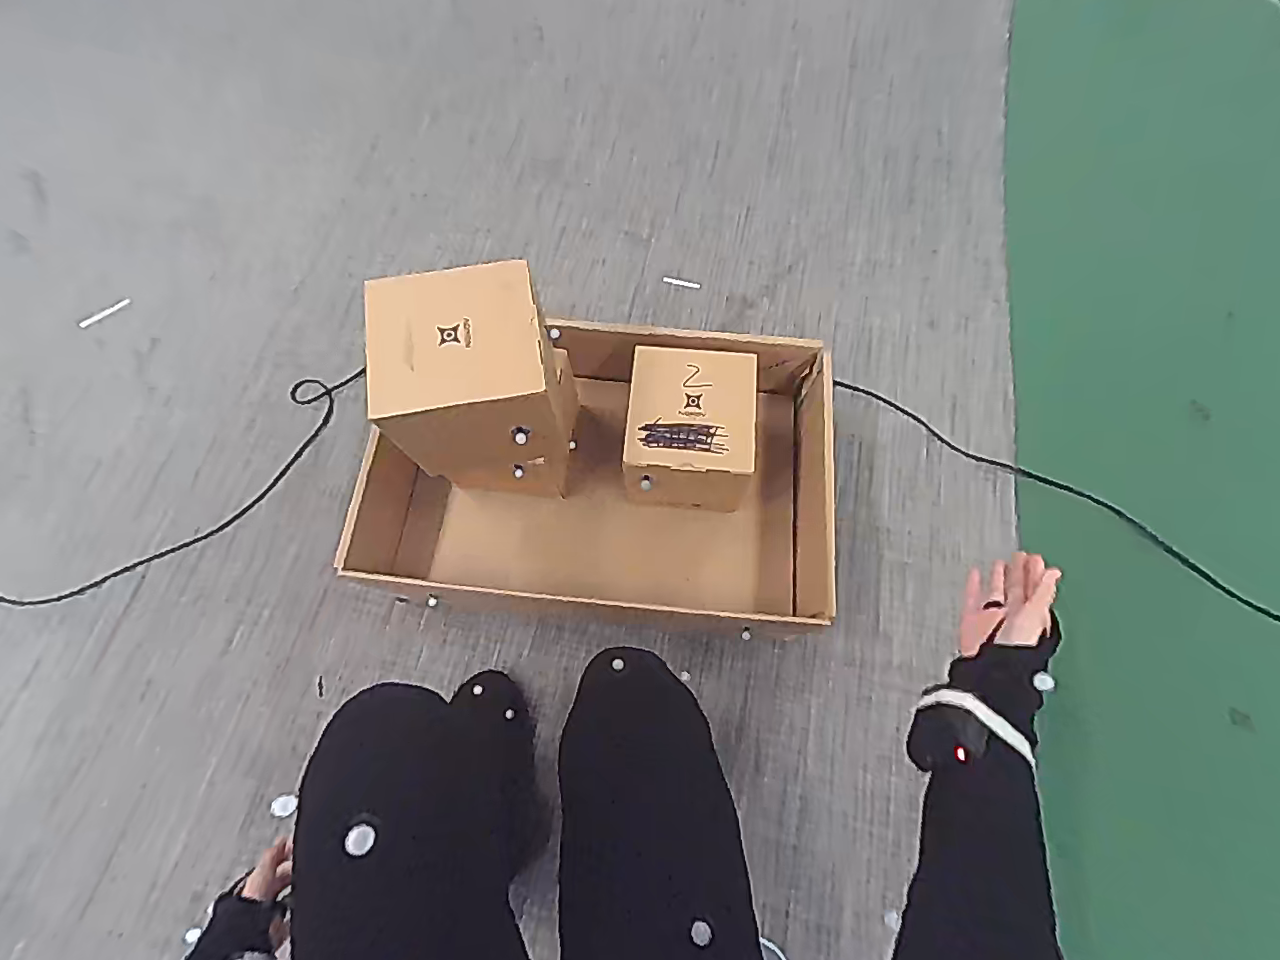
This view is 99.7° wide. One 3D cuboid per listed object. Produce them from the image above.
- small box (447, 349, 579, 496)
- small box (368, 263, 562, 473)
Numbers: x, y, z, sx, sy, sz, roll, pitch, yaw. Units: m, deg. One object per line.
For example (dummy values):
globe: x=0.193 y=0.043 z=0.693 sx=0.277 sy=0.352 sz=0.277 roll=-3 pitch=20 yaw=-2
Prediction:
small box: x=-0.194 y=-0.083 z=0.786 sx=0.179 sy=0.176 sz=0.168 roll=7 pitch=72 yaw=2
small box: x=-0.190 y=-0.119 z=0.626 sx=0.179 sy=0.176 sz=0.168 roll=-9 pitch=71 yaw=-3
